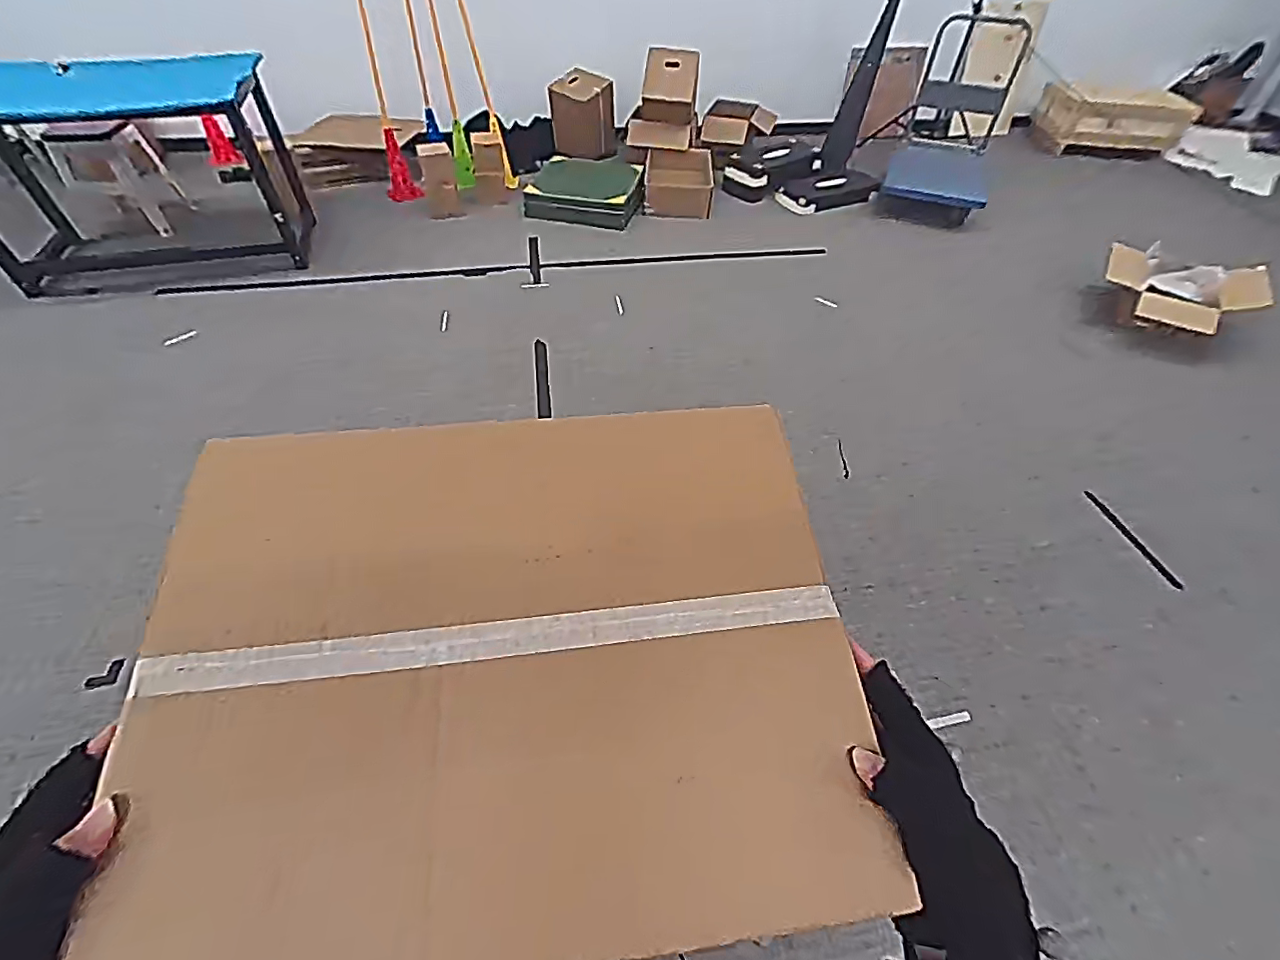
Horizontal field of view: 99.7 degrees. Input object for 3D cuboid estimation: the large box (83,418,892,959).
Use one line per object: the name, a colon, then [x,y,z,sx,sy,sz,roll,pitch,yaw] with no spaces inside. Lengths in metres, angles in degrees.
large box: [-0.087,0.172,0.460,0.408,0.320,0.320,-5,62,-6]
